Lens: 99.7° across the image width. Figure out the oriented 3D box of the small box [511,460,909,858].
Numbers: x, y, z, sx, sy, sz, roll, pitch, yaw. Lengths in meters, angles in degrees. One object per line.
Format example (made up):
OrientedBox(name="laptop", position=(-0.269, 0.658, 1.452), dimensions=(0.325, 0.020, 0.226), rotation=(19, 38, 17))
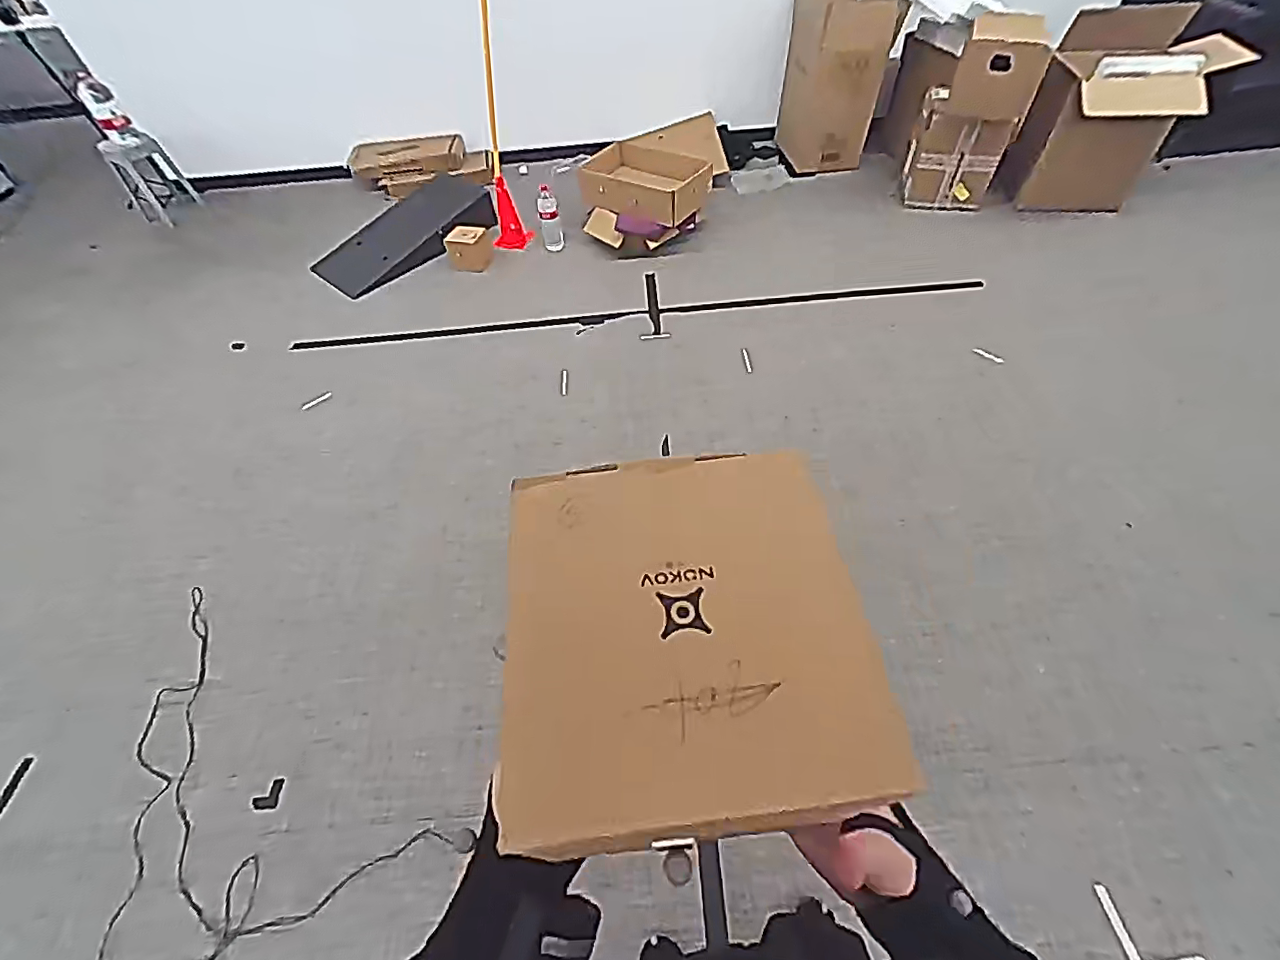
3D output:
OrientedBox(name="small box", position=(0.022, 0.113, 0.331), dimensions=(0.168, 0.176, 0.179), rotation=(-7, 54, -3))
